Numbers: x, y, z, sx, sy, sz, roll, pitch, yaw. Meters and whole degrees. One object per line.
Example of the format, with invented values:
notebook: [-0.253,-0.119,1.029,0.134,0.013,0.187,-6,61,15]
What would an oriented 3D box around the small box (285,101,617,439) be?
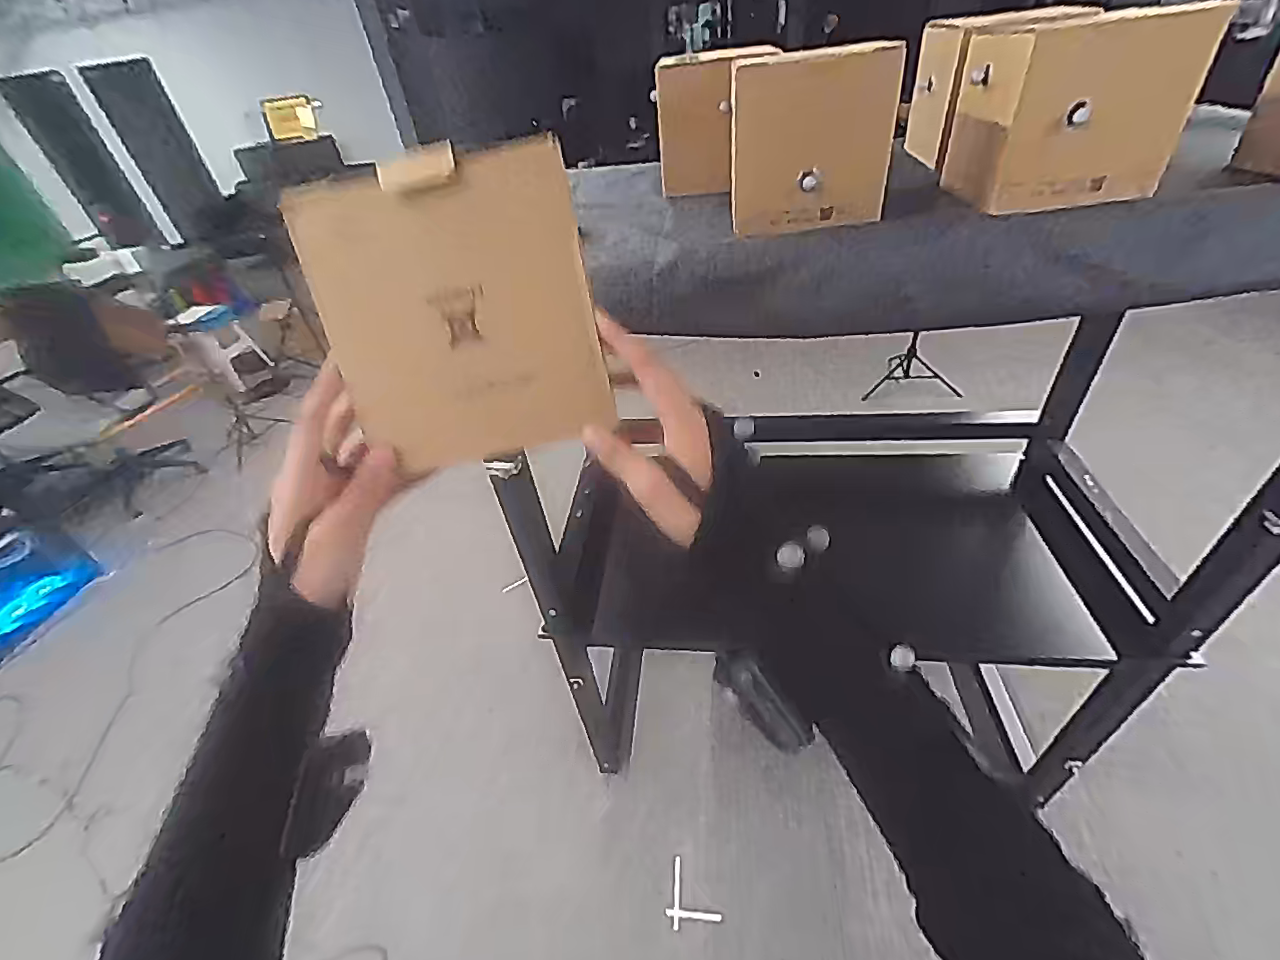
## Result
small box: [-0.116,-0.143,0.411,0.168,0.179,0.176,-12,16,0]

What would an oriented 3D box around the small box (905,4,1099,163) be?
small box: [0.514,-0.582,0.803,0.168,0.176,0.179,-1,39,9]

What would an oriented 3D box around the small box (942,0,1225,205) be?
small box: [0.469,-0.420,0.612,0.168,0.176,0.179,-1,37,9]

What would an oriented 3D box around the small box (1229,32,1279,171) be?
small box: [0.777,-0.409,0.539,0.168,0.176,0.179,1,36,11]
